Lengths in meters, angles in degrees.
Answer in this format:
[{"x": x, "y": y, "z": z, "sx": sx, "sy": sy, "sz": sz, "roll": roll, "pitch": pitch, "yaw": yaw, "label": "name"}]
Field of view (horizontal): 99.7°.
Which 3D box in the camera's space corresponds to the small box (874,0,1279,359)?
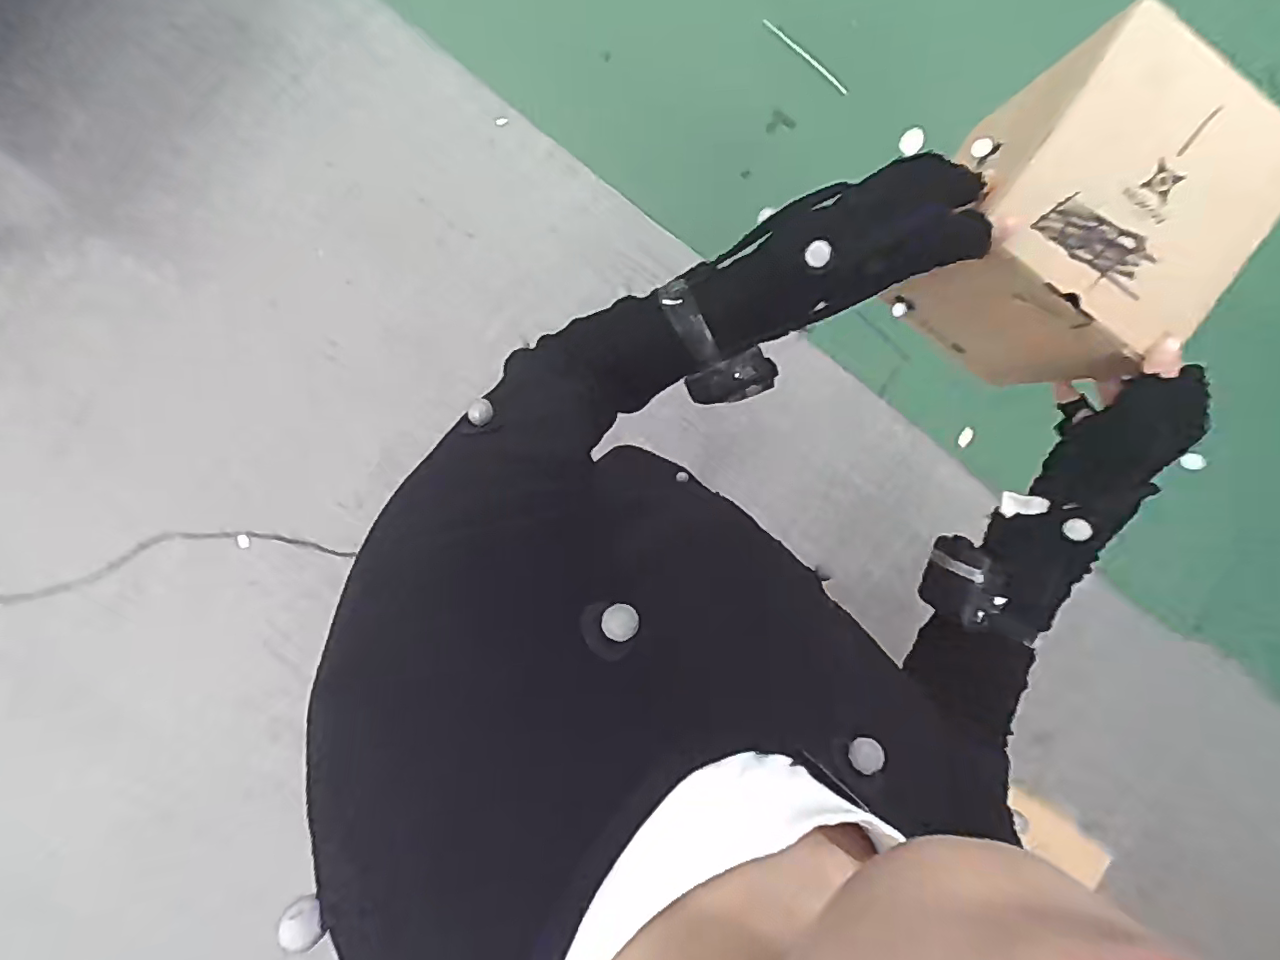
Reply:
[{"x": 0.325, "y": -0.216, "z": 0.440, "sx": 0.168, "sy": 0.176, "sz": 0.179, "roll": 32, "pitch": 94, "yaw": -7, "label": "small box"}]
